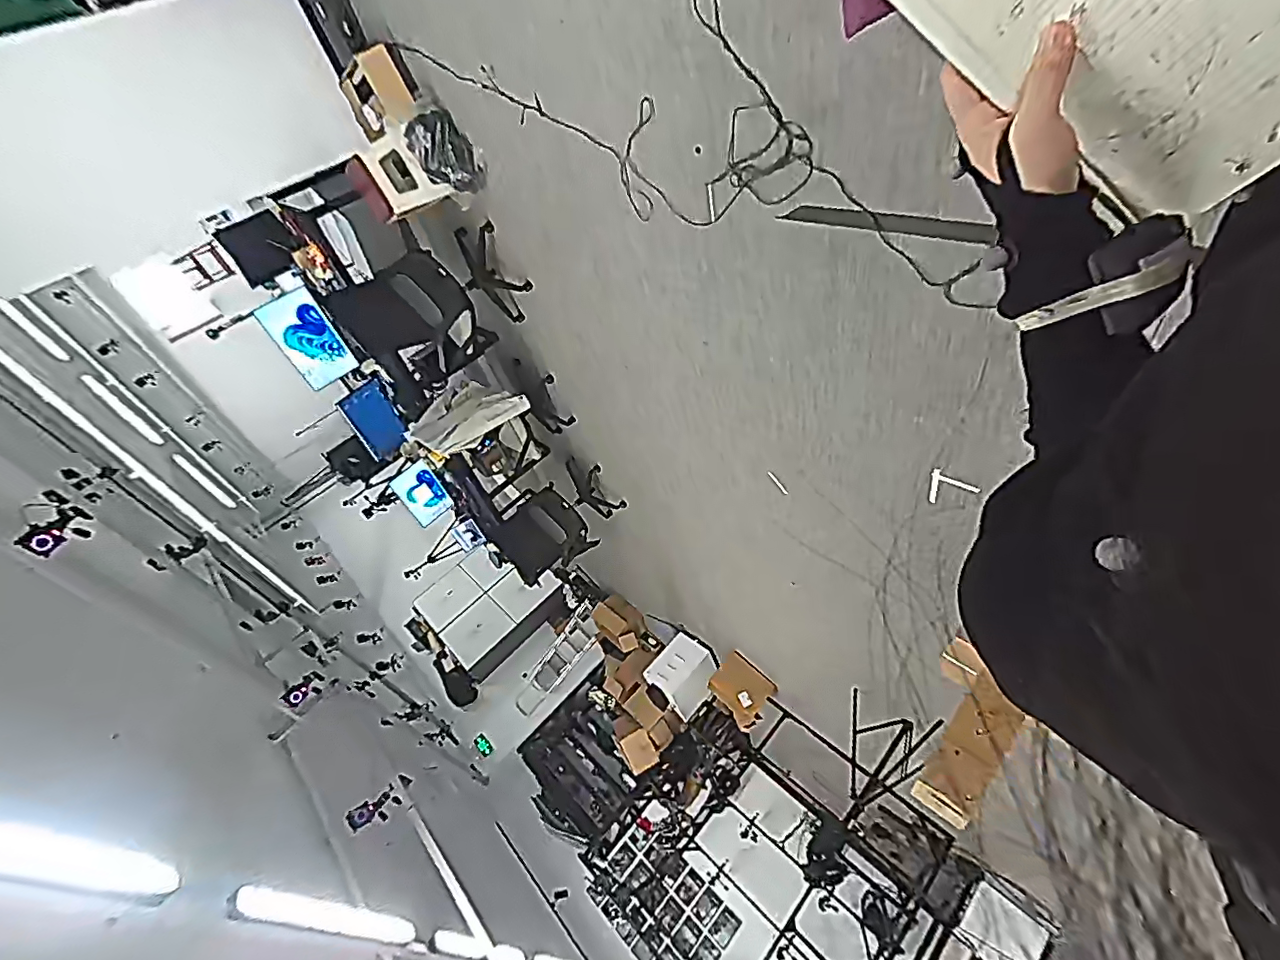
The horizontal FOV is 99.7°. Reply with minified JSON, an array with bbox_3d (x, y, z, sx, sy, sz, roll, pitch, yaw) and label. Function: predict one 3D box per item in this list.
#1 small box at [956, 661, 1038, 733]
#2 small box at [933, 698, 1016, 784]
[{"bbox_3d":[1.229,0.759,1.860,0.168,0.176,0.179,33,154,33],"label":"small box"},{"bbox_3d":[1.118,0.866,1.805,0.168,0.176,0.179,32,151,36],"label":"small box"}]
